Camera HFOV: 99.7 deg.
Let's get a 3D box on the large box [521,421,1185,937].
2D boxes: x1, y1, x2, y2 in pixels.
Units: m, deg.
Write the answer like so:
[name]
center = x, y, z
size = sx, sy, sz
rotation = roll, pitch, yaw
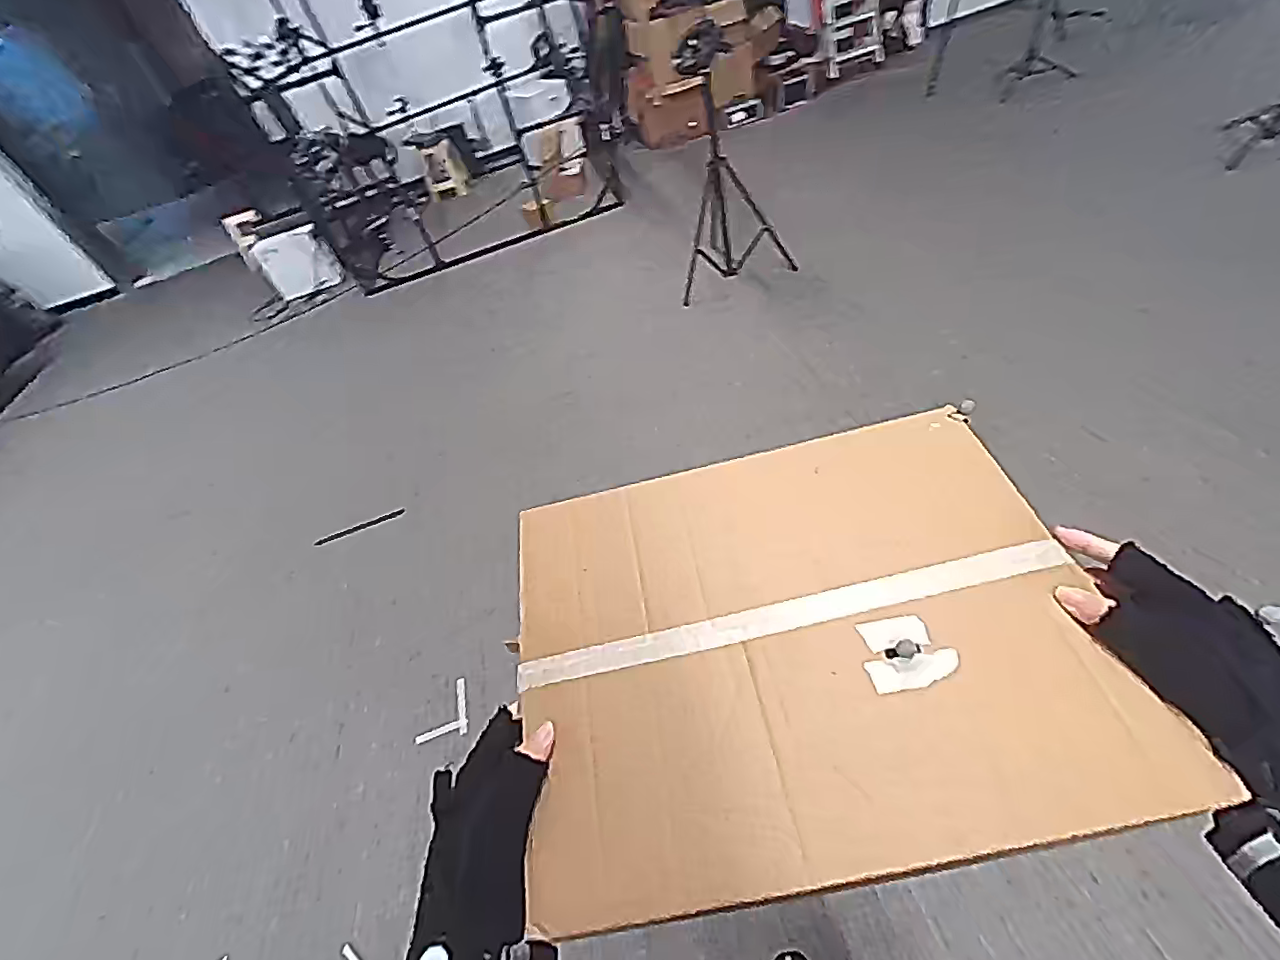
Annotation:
[large box]
center = 0.130, 0.200, 0.529
size = 0.408, 0.320, 0.320
rotation = -15, 51, 2
